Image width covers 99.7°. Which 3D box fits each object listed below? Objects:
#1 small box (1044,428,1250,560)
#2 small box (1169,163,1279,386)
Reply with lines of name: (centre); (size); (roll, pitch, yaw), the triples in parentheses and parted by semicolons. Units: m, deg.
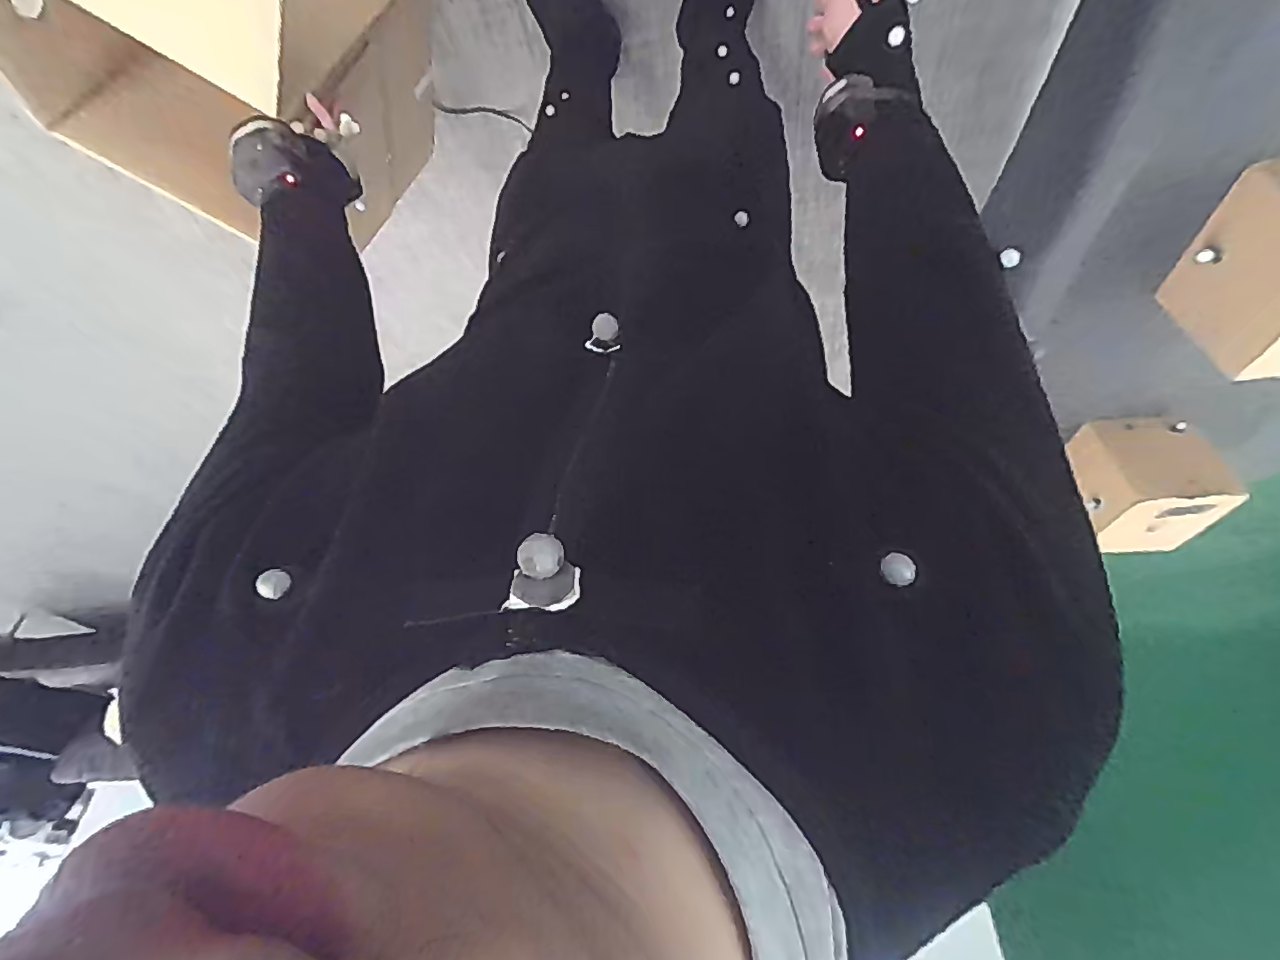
small box: (0.853, 0.022, 0.939); (0.168, 0.176, 0.179); (-2, 144, 4)
small box: (0.759, -0.231, 0.602); (0.168, 0.176, 0.179); (-5, 144, 7)
